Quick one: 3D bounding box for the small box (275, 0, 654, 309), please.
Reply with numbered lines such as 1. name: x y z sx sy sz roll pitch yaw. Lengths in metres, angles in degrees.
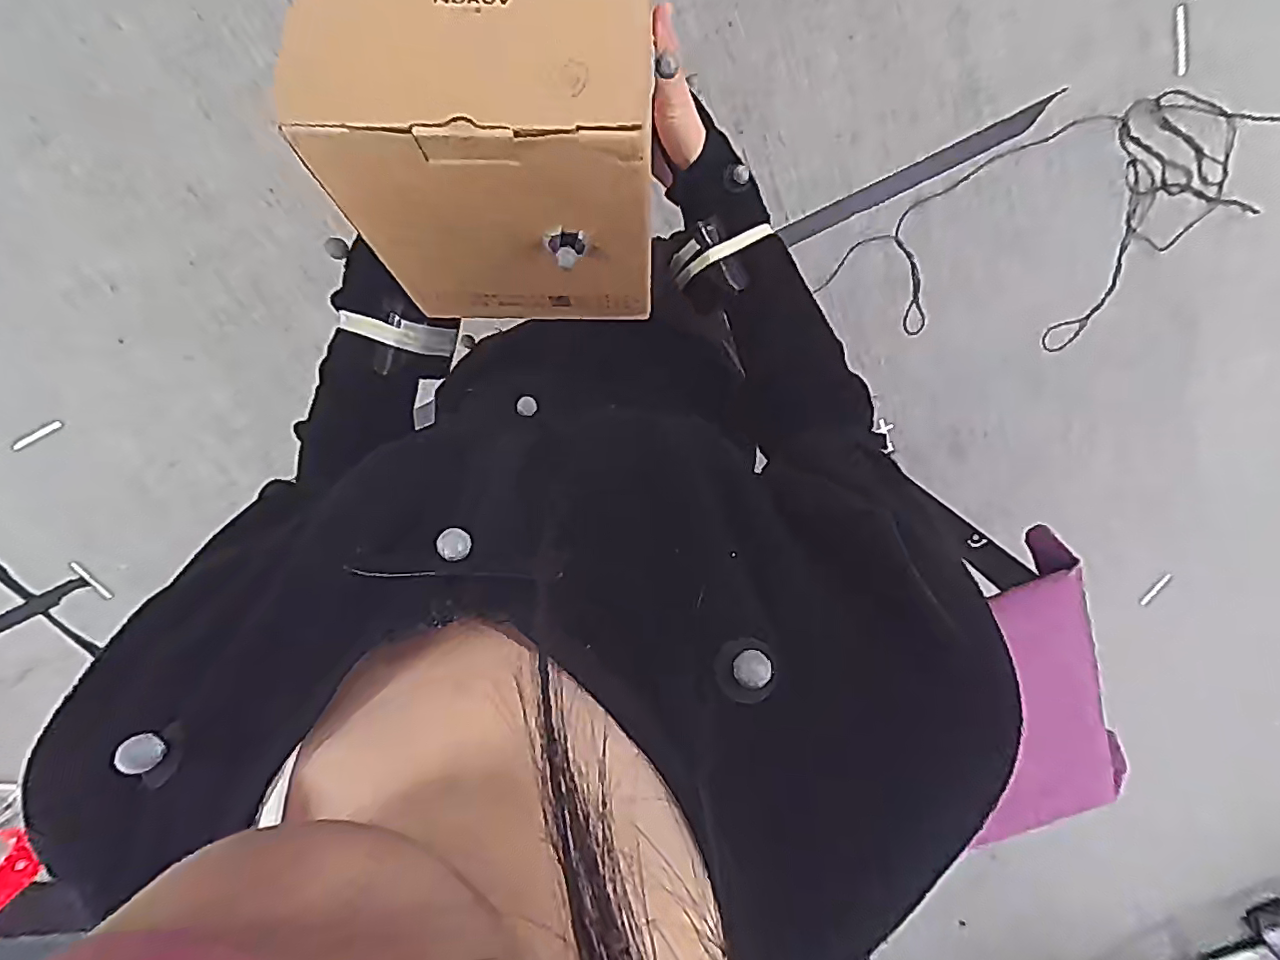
1. small box: -0.076 -0.221 0.329 0.168 0.176 0.179 1 78 0
